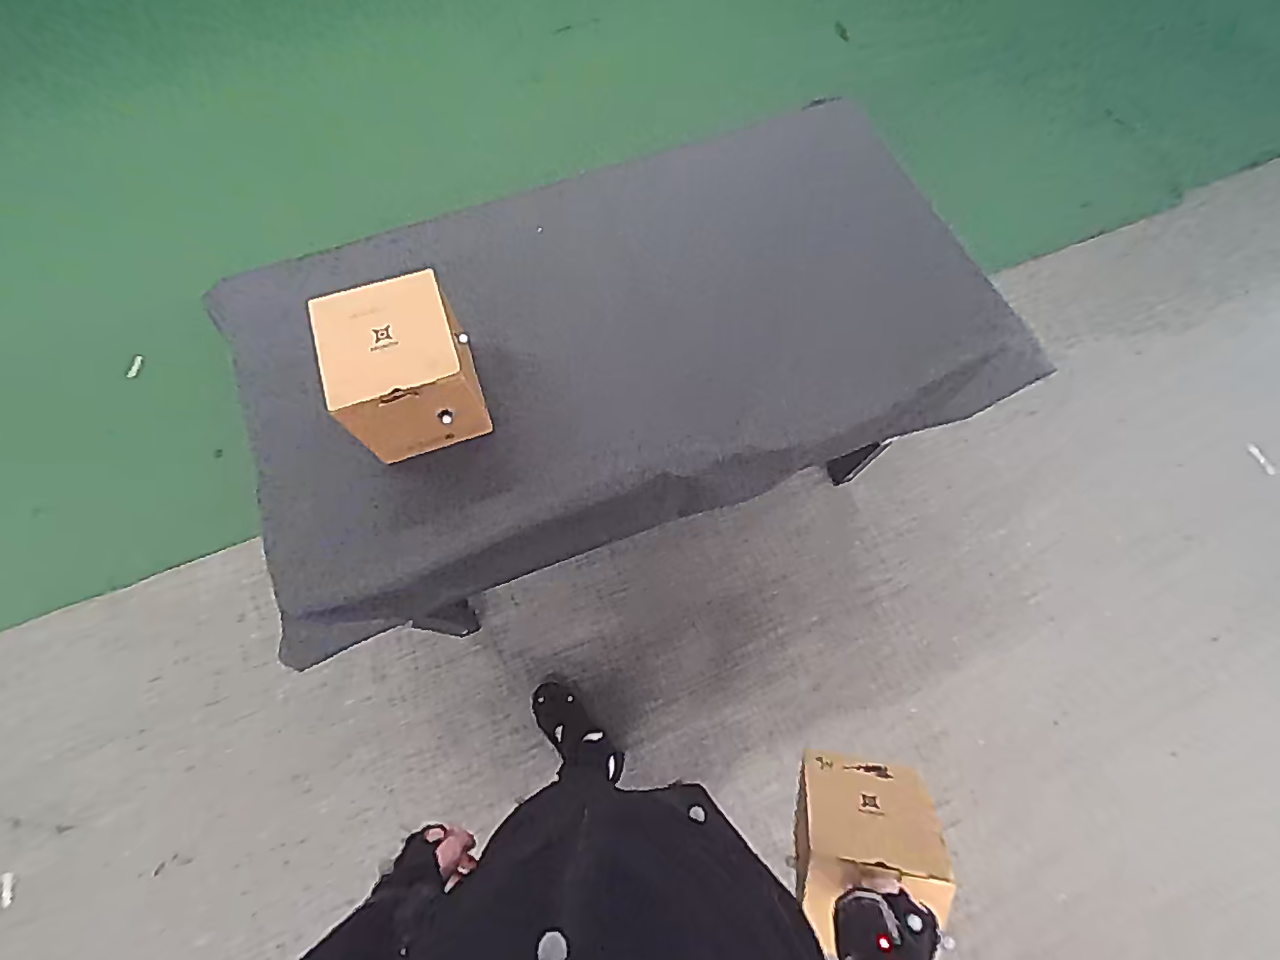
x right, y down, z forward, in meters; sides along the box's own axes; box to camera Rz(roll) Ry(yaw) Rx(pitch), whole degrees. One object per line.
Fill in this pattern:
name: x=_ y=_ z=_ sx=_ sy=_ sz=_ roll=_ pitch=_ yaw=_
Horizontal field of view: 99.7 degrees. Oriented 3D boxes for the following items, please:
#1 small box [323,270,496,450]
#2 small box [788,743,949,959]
small box: x=-0.316 y=-0.159 z=0.771 sx=0.168 sy=0.176 sz=0.179 roll=-17 pitch=70 yaw=-9
small box: x=0.300 y=0.508 z=0.746 sx=0.168 sy=0.179 sz=0.176 roll=7 pitch=109 yaw=13
